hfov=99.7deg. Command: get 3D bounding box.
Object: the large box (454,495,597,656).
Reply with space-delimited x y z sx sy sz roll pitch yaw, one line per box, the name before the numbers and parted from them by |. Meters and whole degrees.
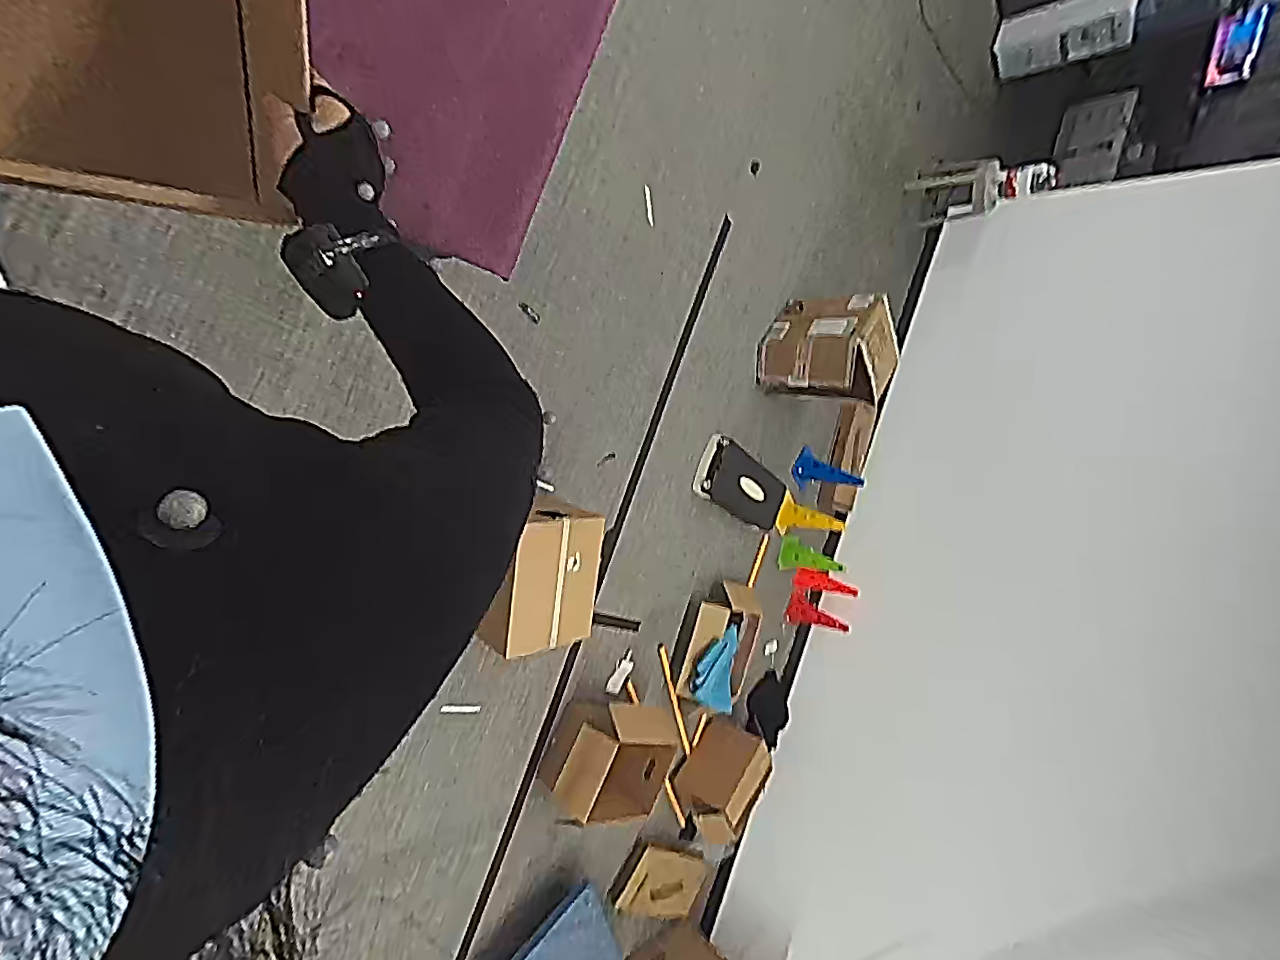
large box | -0.365 0.274 1.700 0.320 0.320 0.408 -1 101 -46
